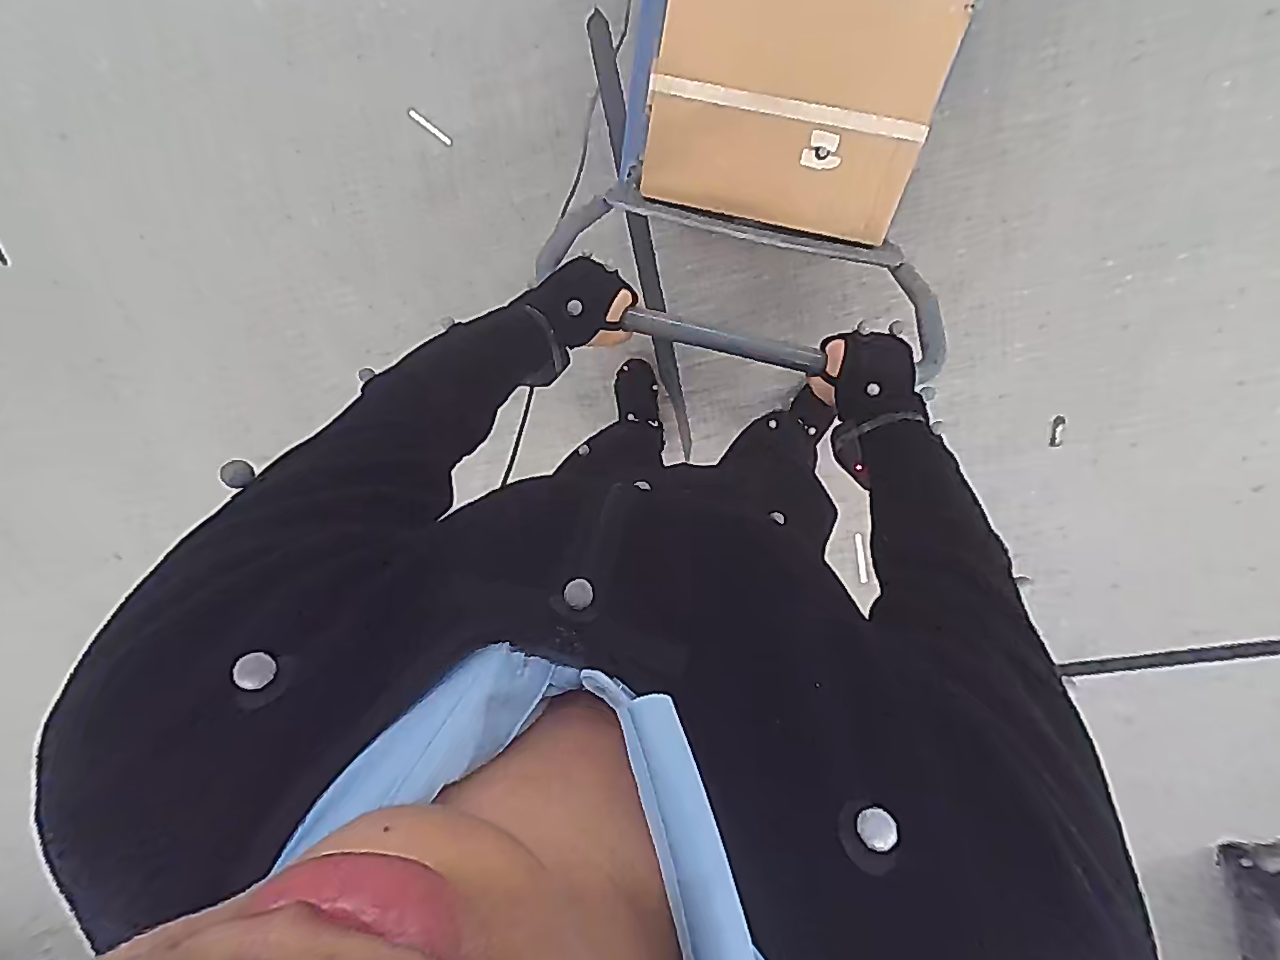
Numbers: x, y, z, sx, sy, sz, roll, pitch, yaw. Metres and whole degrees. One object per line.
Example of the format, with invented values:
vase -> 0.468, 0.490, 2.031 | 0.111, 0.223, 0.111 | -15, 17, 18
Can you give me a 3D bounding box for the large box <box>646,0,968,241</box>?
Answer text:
large box -> 0.246, -0.635, 0.936 | 0.408, 0.320, 0.320 | 13, 124, 3
